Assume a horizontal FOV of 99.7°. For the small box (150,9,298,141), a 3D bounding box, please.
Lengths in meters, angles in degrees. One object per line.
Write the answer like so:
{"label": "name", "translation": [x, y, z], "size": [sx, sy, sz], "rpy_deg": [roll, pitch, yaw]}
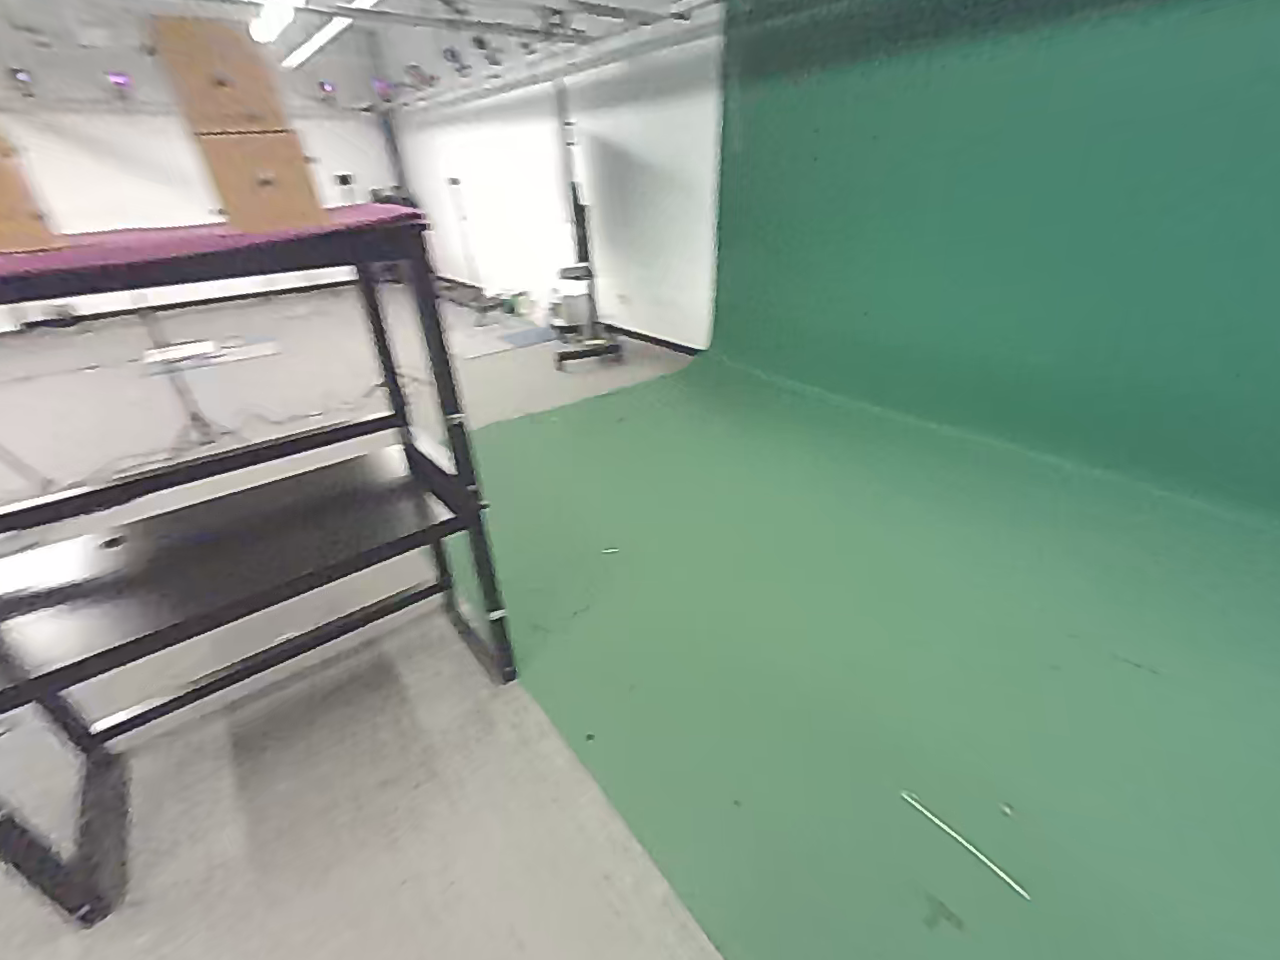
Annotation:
{"label": "small box", "translation": [-0.763, -0.741, 1.004], "size": [0.168, 0.176, 0.179], "rpy_deg": [-23, 34, -29]}

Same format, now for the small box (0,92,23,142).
{"label": "small box", "translation": [-1.118, -0.616, 0.820], "size": [0.179, 0.176, 0.168], "rpy_deg": [-20, 33, -31]}

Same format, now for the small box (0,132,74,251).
{"label": "small box", "translation": [-1.108, -0.470, 0.895], "size": [0.179, 0.176, 0.168], "rpy_deg": [-21, 34, -31]}
